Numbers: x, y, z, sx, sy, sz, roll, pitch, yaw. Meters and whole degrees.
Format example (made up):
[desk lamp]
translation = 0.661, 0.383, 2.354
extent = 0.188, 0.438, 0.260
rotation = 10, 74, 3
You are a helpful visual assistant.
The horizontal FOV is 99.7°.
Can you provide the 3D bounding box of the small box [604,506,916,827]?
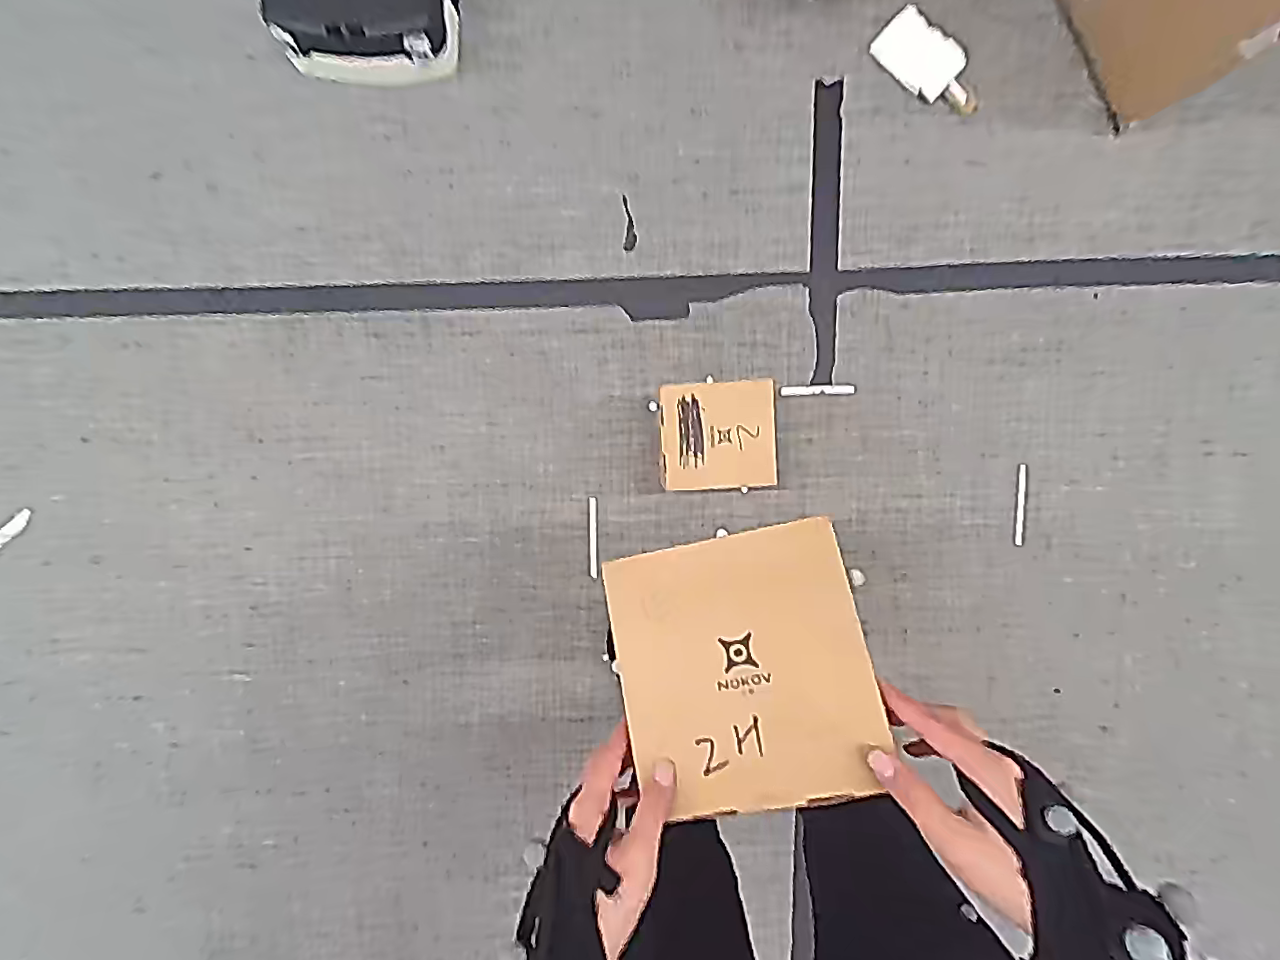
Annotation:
[small box]
translation = 0.083, 0.133, 0.421
extent = 0.168, 0.176, 0.179
rotation = -14, 77, 9
